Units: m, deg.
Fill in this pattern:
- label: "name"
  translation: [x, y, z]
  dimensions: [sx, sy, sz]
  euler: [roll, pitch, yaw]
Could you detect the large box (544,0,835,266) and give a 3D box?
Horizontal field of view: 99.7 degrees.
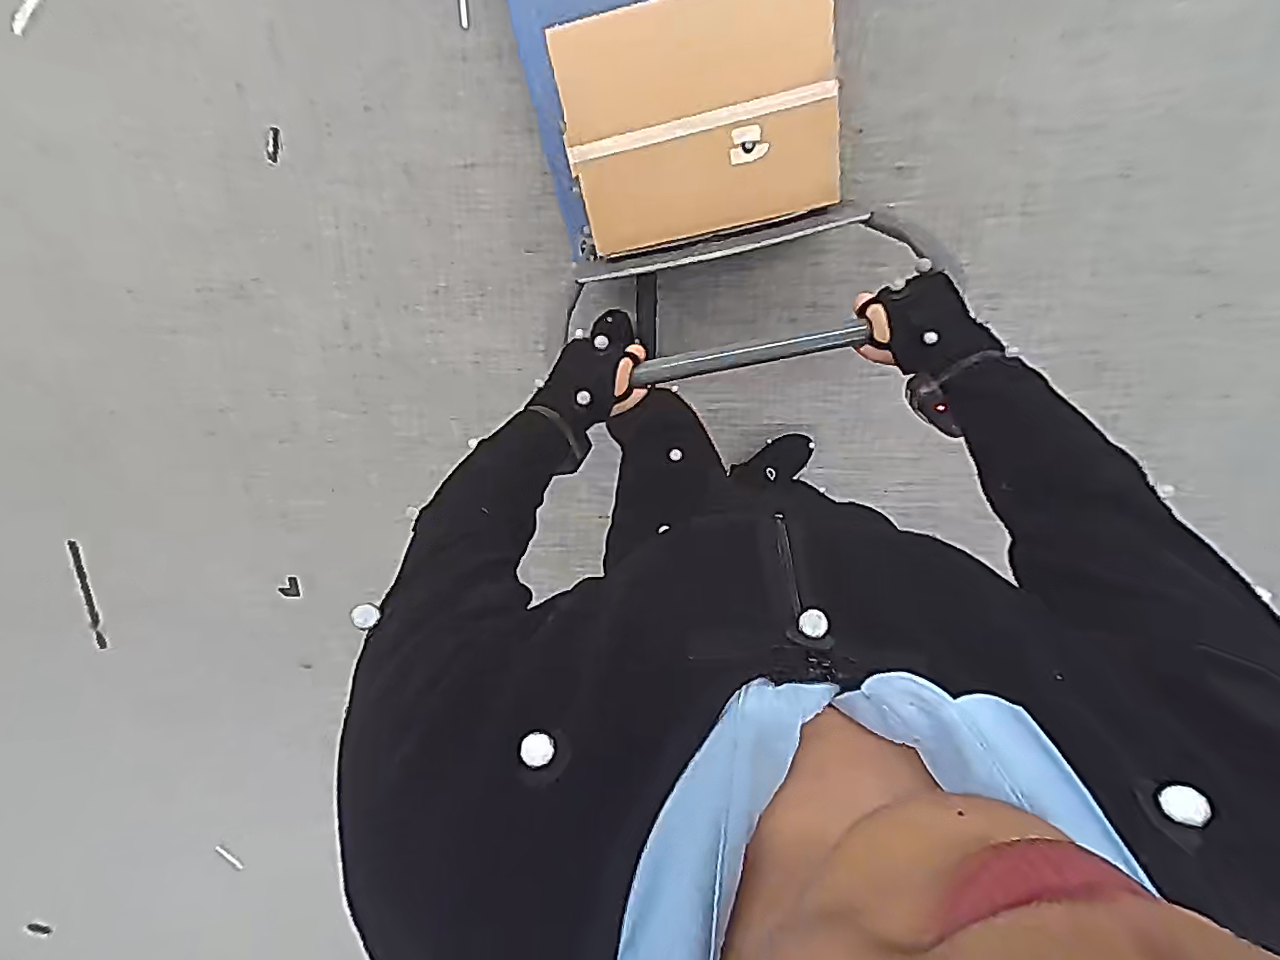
- label: "large box"
  translation: [0.088, -0.603, 0.951]
  dimensions: [0.408, 0.320, 0.320]
  euler: [-11, 119, 7]
